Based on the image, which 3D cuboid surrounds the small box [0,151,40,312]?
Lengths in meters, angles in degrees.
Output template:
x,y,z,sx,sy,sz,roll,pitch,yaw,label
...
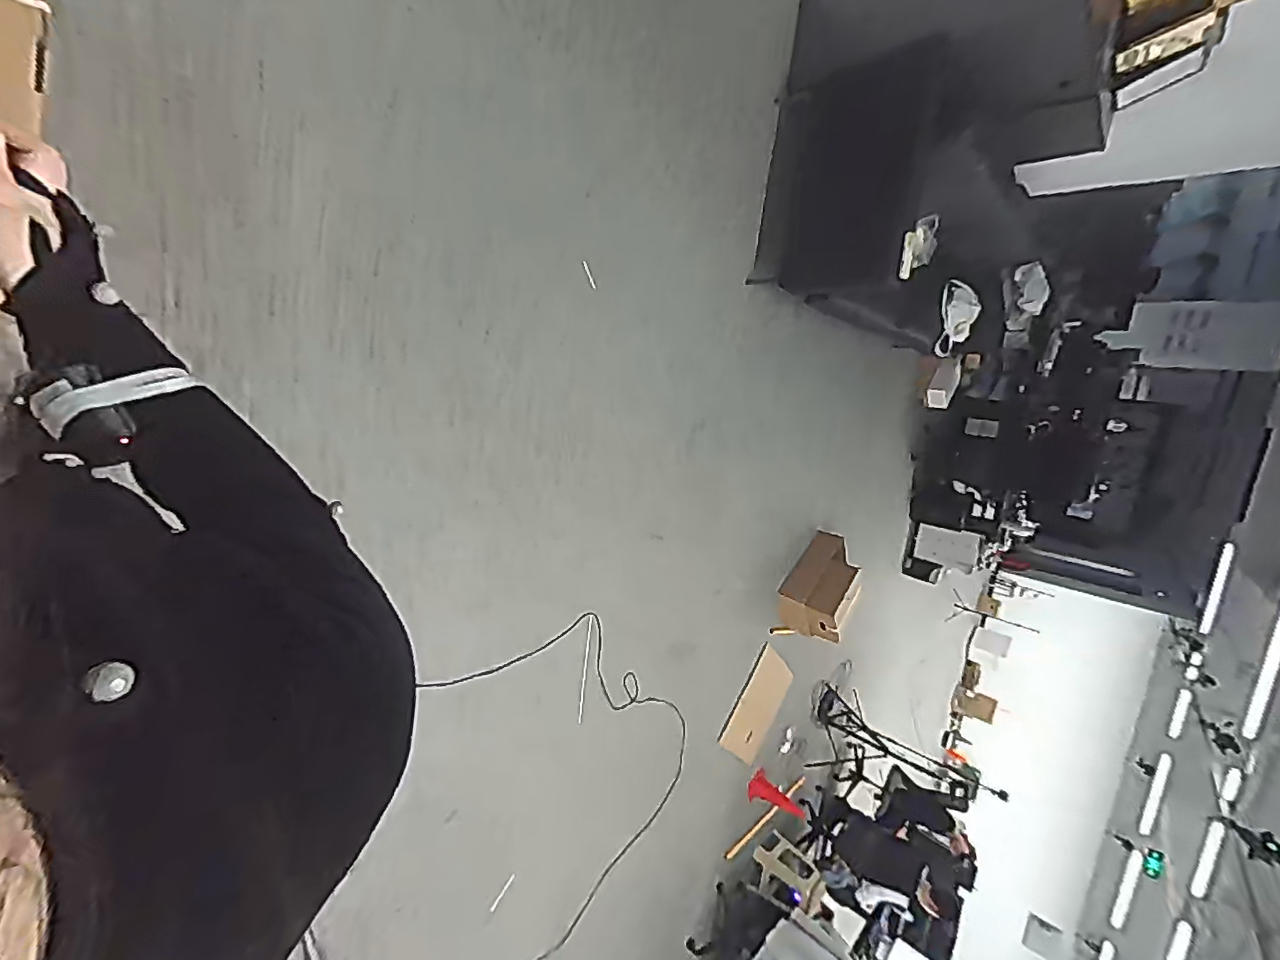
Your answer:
x,y,z,sx,sy,sz,roll,pitch,yaw,label
-0.848,-0.312,0.643,0.168,0.176,0.179,6,95,-49,small box
